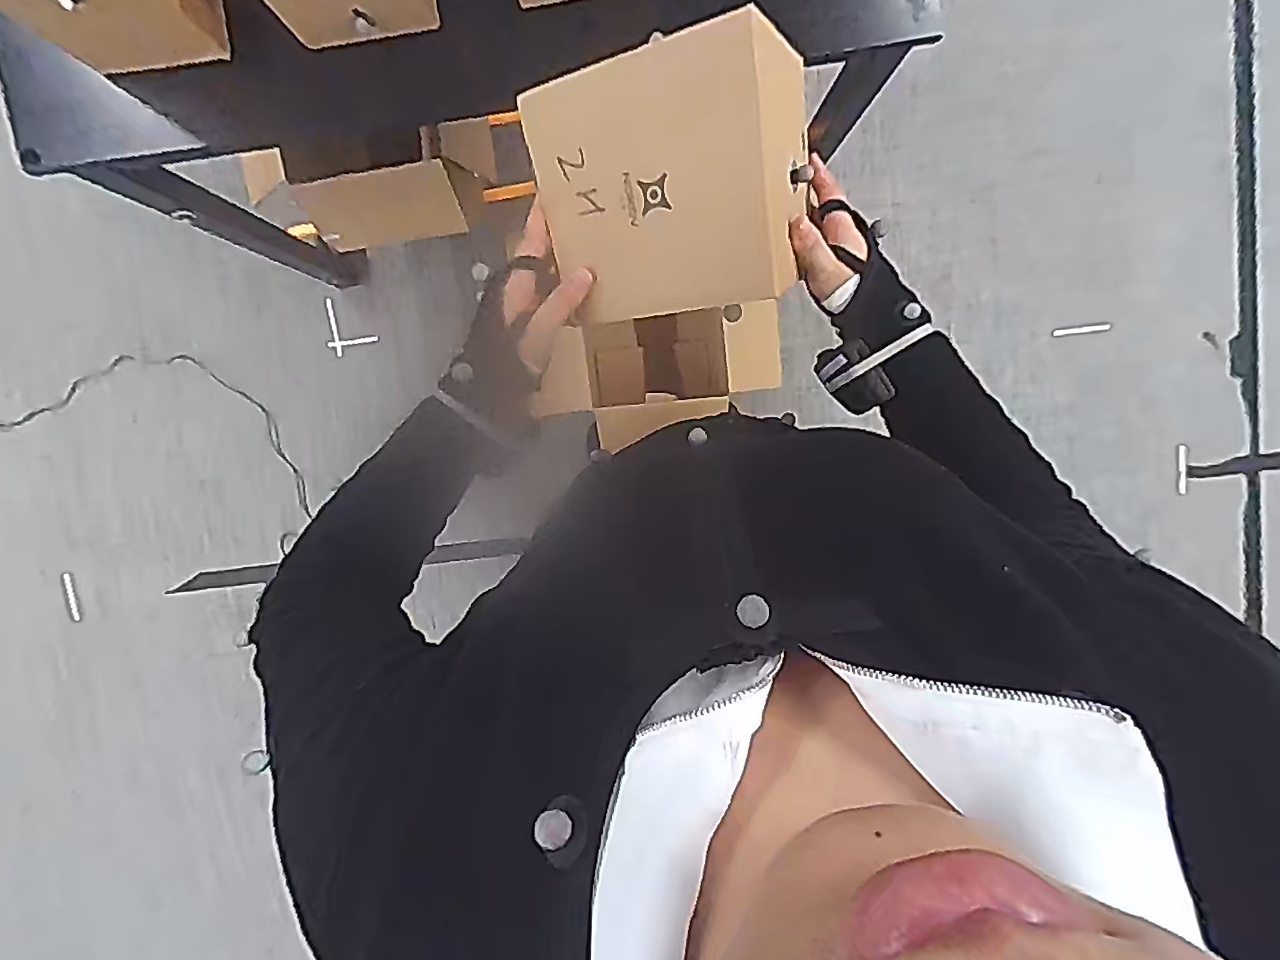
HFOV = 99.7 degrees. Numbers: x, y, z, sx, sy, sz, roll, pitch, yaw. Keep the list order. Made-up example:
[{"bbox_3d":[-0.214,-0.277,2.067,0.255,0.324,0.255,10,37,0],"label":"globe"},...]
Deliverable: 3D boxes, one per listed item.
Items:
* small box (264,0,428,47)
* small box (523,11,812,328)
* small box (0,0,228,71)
[{"bbox_3d":[-0.351,-0.628,0.595,0.179,0.176,0.168,-10,96,-1],"label":"small box"},{"bbox_3d":[0.040,-0.231,0.439,0.179,0.176,0.168,0,115,26],"label":"small box"},{"bbox_3d":[-0.612,-0.591,0.596,0.179,0.176,0.168,-7,97,-1],"label":"small box"}]
